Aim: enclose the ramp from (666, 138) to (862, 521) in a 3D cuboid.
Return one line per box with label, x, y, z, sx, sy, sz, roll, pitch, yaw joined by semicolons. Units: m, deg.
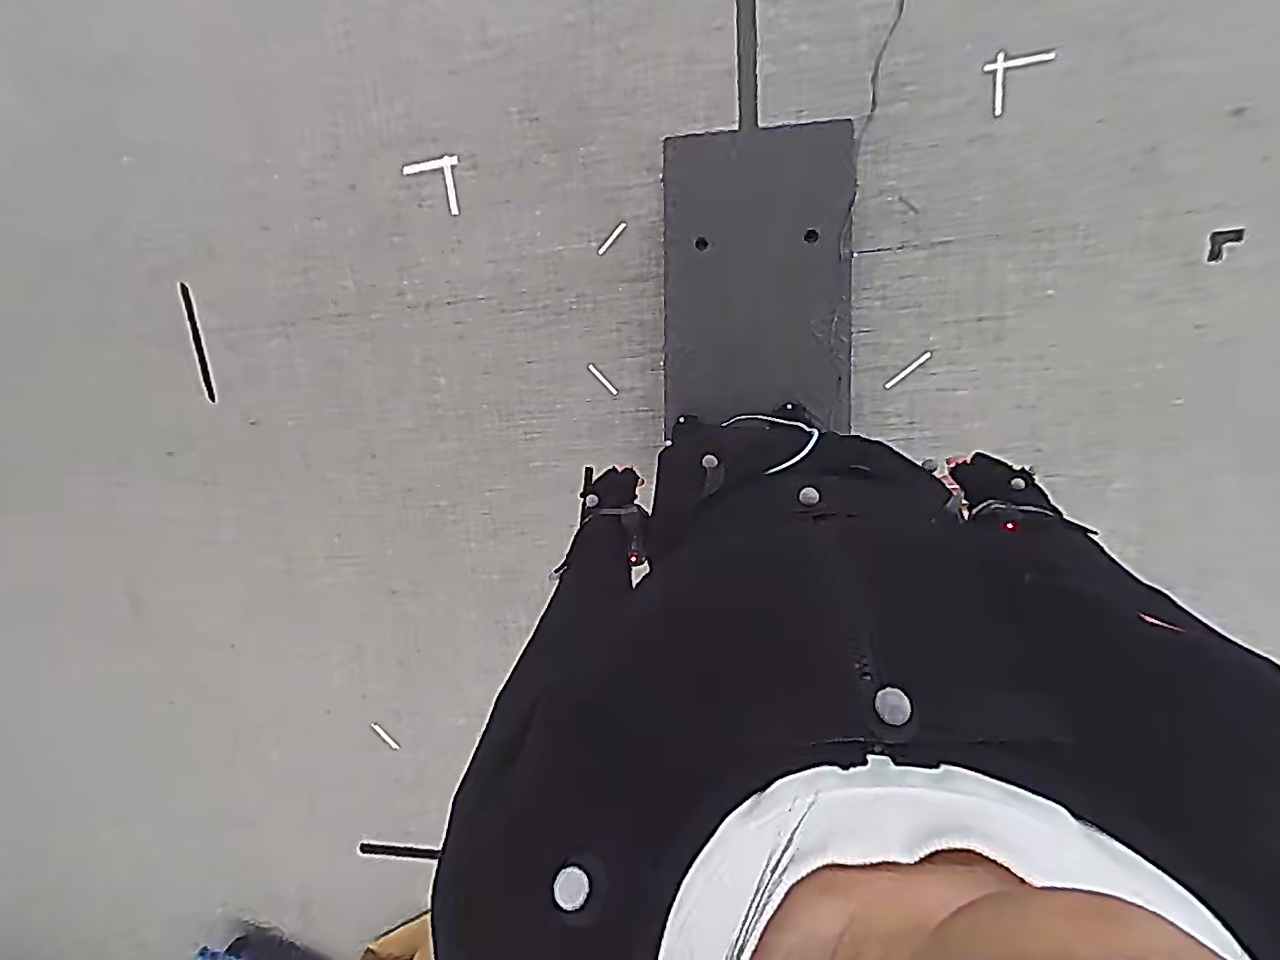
ramp;0.323;-0.391;1.458;0.509;0.206;0.991;-3;99;12
